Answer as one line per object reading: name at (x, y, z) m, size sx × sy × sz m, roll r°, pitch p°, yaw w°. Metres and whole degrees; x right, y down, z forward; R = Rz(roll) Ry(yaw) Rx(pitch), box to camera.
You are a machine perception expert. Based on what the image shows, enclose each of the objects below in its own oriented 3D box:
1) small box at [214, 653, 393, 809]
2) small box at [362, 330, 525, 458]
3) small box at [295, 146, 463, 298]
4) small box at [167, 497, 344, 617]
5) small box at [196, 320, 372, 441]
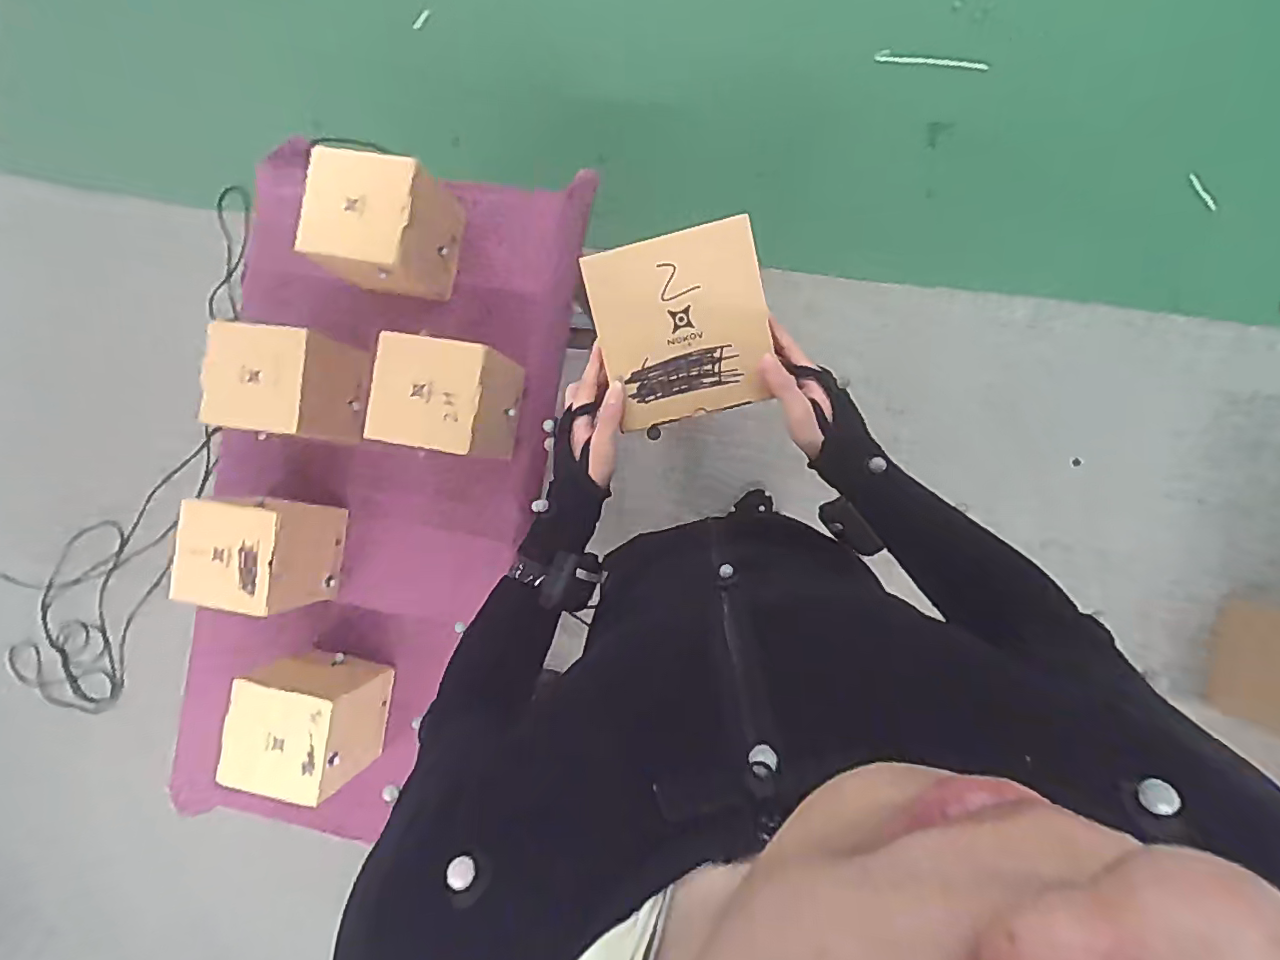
small box at (-0.548, 0.401, 0.899) m, size 0.179 × 0.176 × 0.168 m, roll 9°, pitch 91°, yaw 8°
small box at (-0.310, -0.131, 0.882) m, size 0.179 × 0.176 × 0.168 m, roll 10°, pitch 90°, yaw 9°
small box at (-0.426, -0.421, 0.906) m, size 0.179 × 0.176 × 0.168 m, roll 11°, pitch 90°, yaw 7°
small box at (-0.640, 0.120, 0.920) m, size 0.179 × 0.176 × 0.168 m, roll 7°, pitch 90°, yaw 8°
small box at (-0.597, -0.161, 0.922) m, size 0.179 × 0.176 × 0.168 m, roll 7°, pitch 90°, yaw 7°
